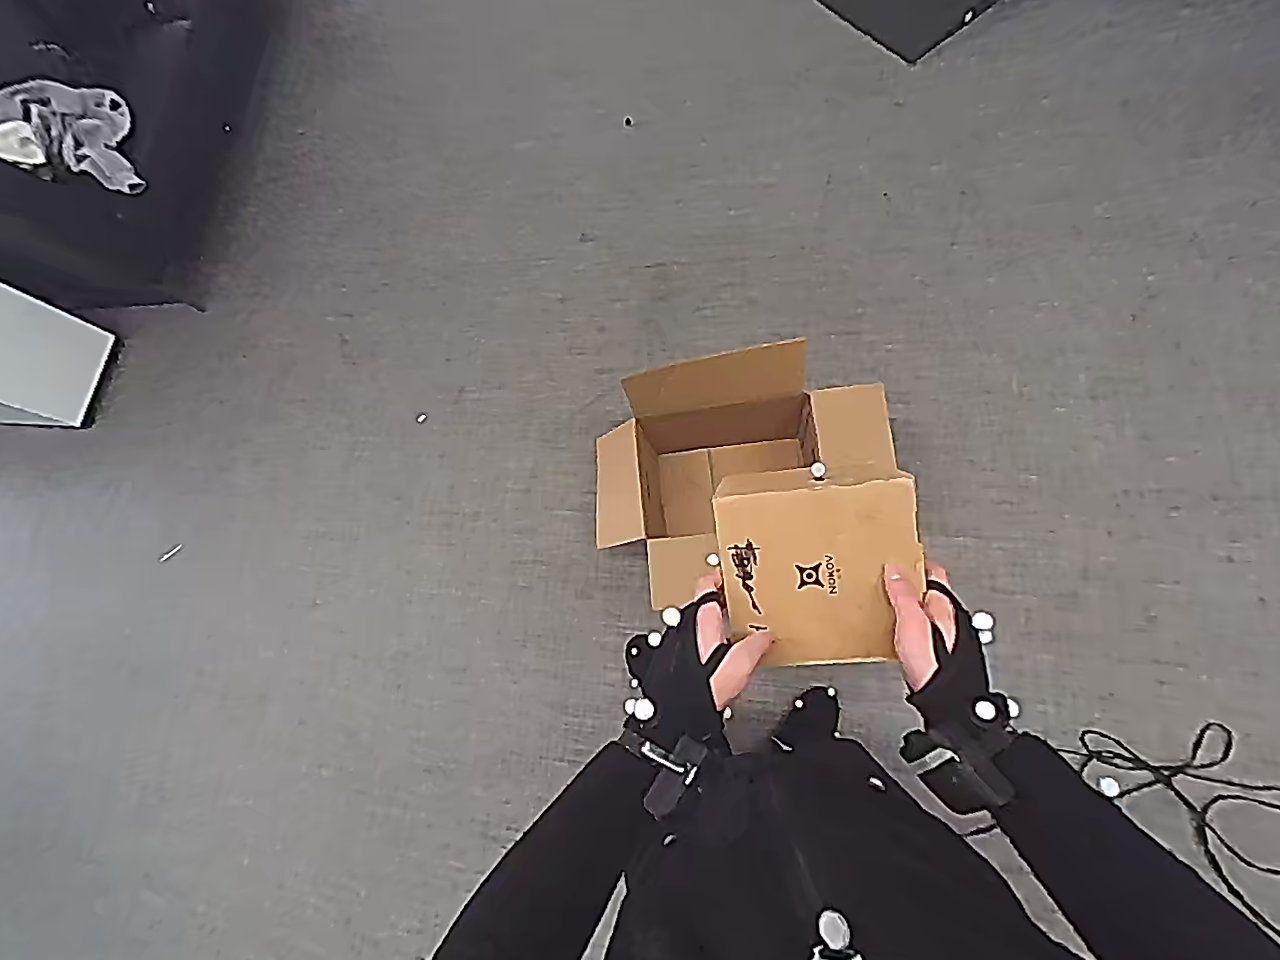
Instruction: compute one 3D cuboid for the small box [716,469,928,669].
[{"bbox_3d":[0.180,0.083,0.573,0.179,0.176,0.168,-7,94,12],"label":"small box"}]
